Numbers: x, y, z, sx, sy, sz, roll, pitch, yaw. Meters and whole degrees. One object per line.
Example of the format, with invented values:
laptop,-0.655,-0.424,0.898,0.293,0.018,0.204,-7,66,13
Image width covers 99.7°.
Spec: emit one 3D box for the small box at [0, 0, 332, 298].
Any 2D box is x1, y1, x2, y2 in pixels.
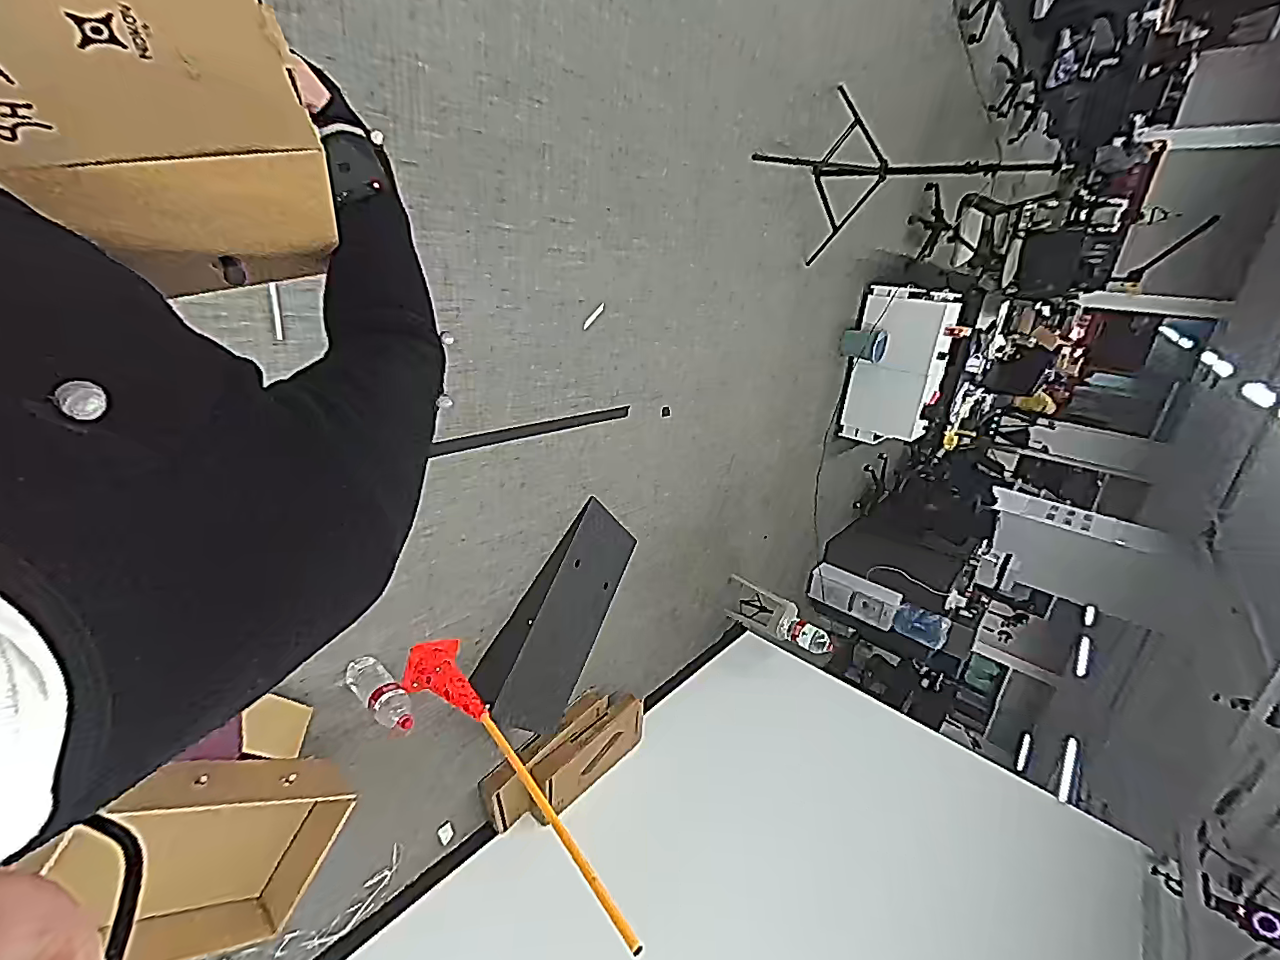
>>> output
small box,-0.358,-0.265,0.418,0.179,0.176,0.168,-22,89,-27
